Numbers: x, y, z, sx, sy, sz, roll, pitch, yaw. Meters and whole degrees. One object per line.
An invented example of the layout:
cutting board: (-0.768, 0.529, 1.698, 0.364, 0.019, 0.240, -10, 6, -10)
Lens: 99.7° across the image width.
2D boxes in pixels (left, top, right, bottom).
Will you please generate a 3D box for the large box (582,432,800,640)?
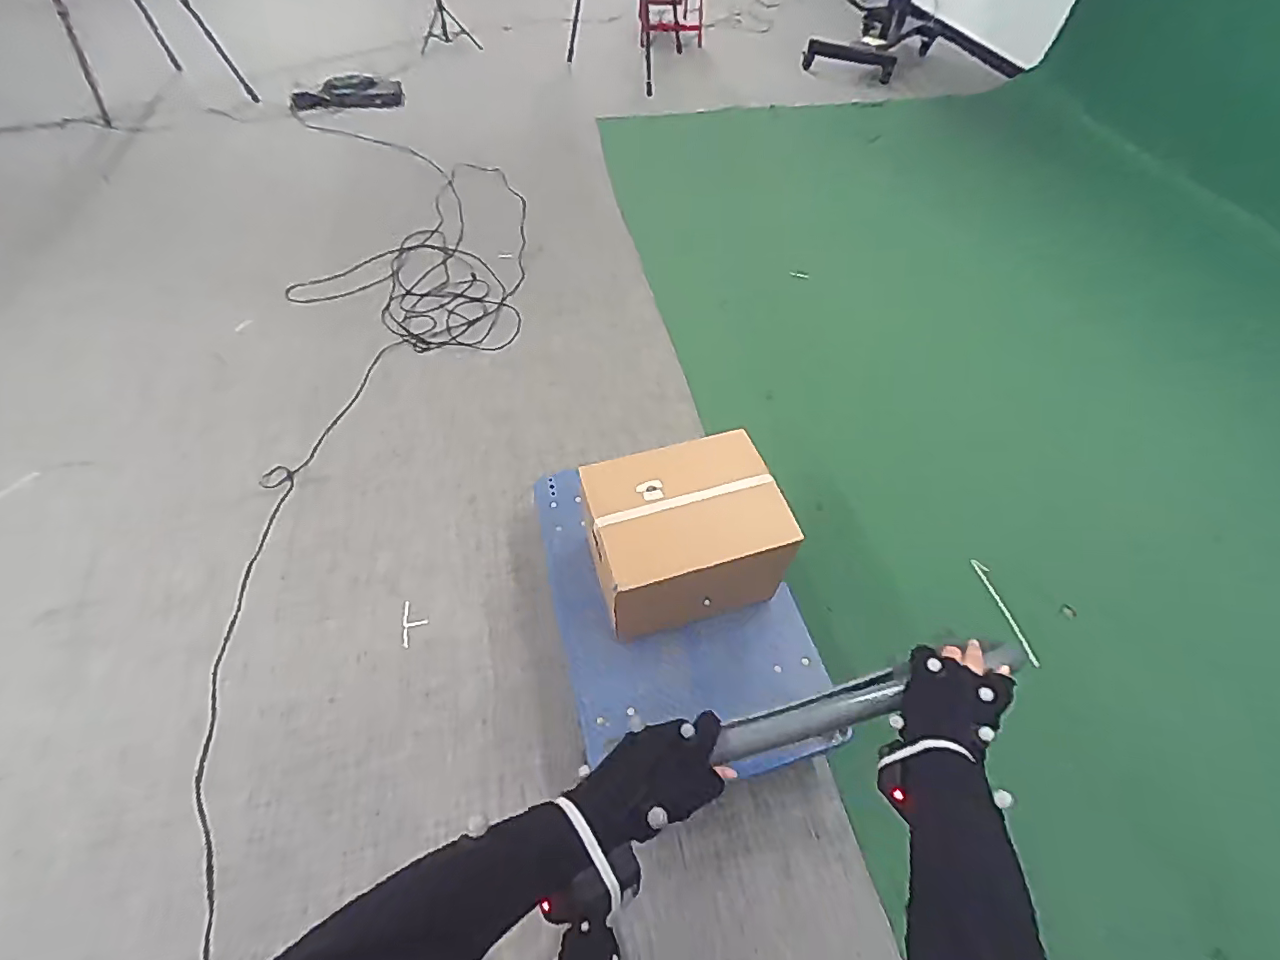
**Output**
large box: (0.103, 0.138, 1.291, 0.408, 0.320, 0.320, -15, 57, -10)
